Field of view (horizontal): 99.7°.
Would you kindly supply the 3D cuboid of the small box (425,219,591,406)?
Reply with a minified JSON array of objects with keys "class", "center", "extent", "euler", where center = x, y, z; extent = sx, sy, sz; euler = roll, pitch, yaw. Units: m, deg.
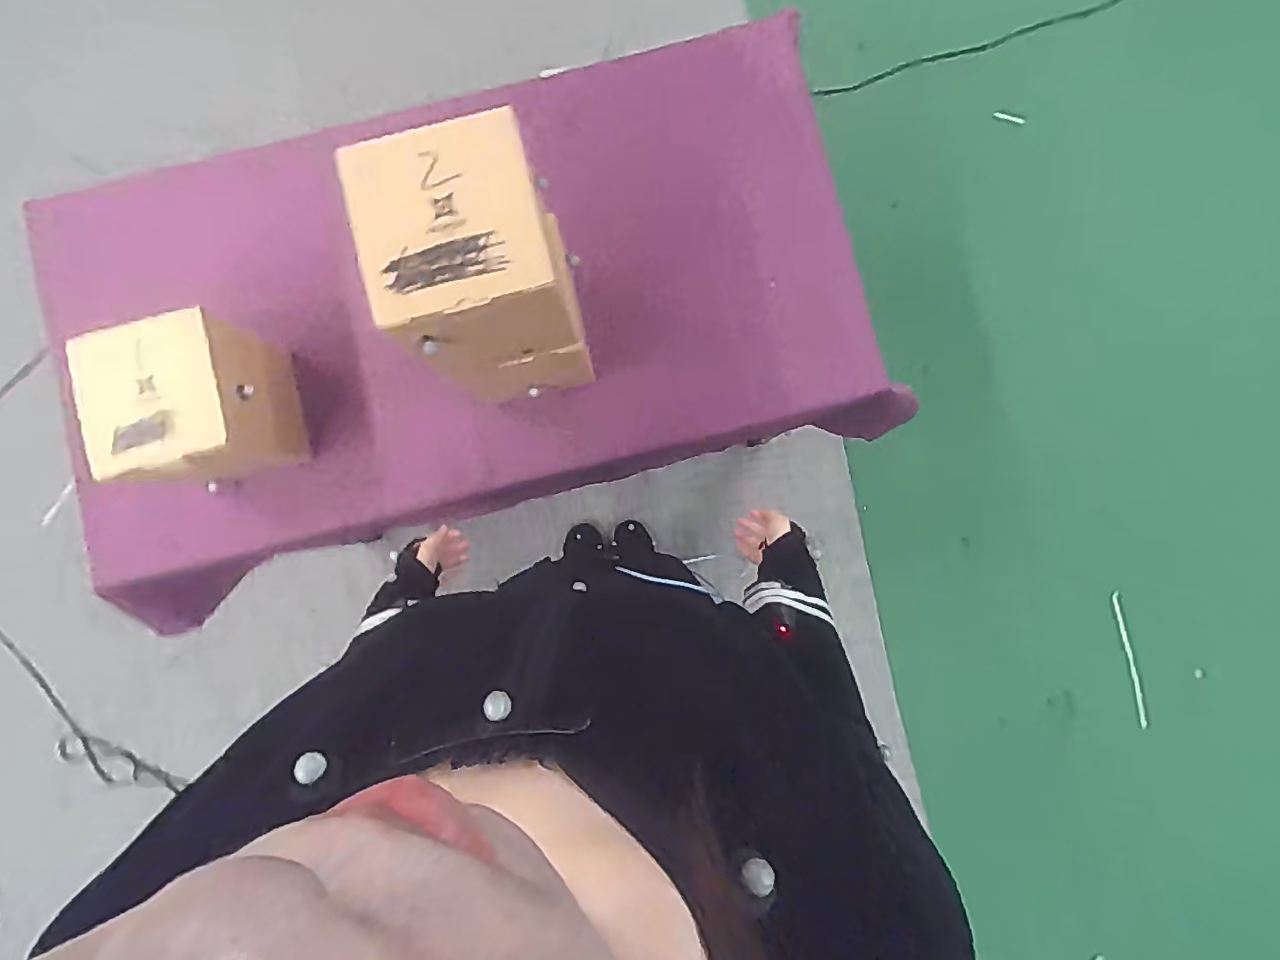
[{"class":"small box","center":[-0.167,-0.213,0.731],"extent":[0.168,0.176,0.179],"euler":[-12,86,0]}]

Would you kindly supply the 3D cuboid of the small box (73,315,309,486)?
[{"class":"small box","center":[-0.583,-0.092,0.727],"extent":[0.168,0.176,0.179],"euler":[-15,86,-1]}]
